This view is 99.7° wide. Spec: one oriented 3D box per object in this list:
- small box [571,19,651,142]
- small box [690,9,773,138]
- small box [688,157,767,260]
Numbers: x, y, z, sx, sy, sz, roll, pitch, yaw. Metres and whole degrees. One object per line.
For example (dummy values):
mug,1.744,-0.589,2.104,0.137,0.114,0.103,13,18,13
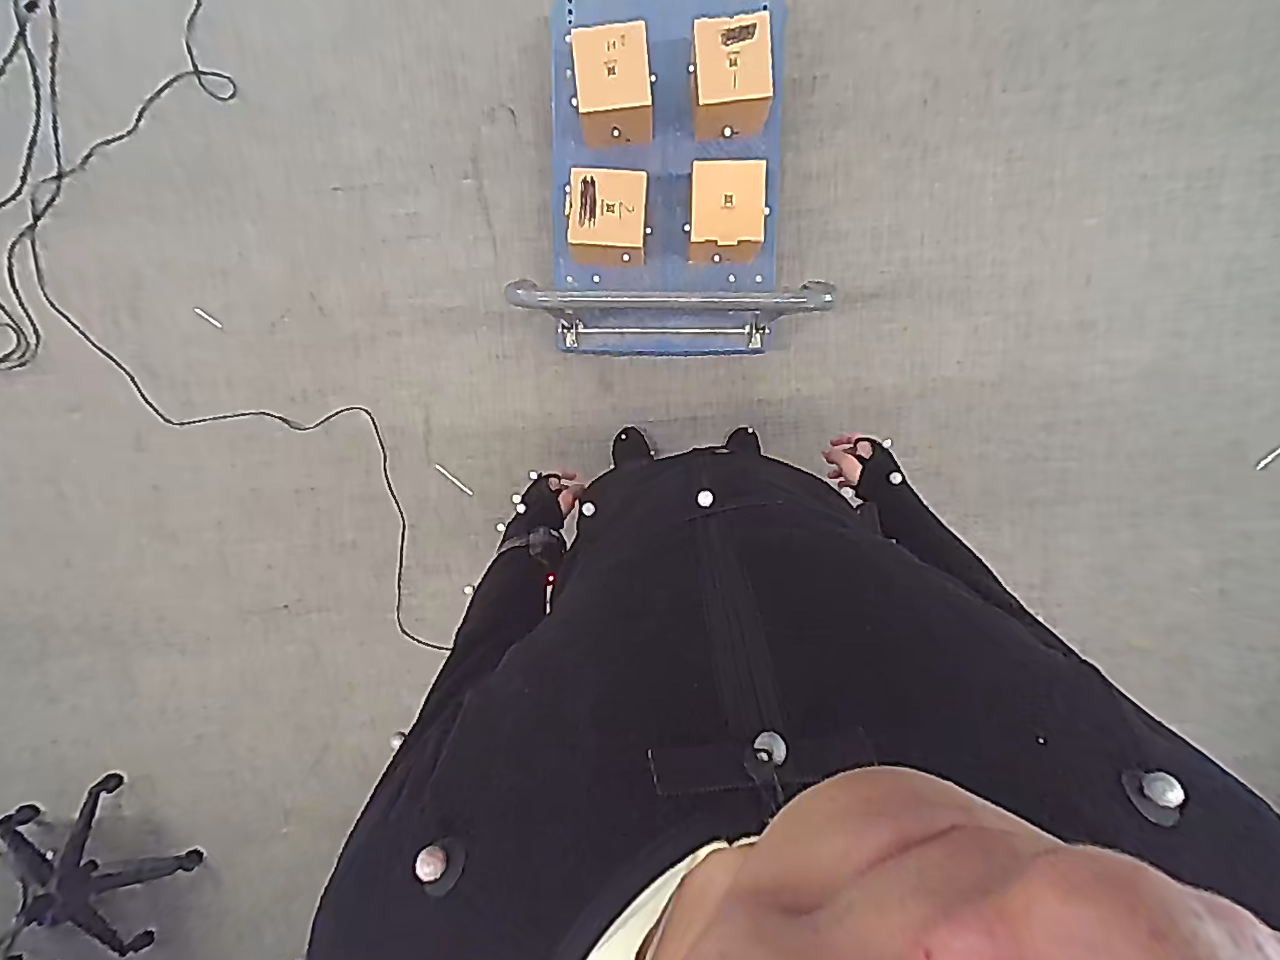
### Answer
small box,-0.061,-0.923,1.269,0.168,0.176,0.179,-5,96,2
small box,0.208,-0.936,1.259,0.168,0.176,0.179,-5,97,3
small box,0.203,-0.643,1.295,0.168,0.176,0.179,0,97,2
